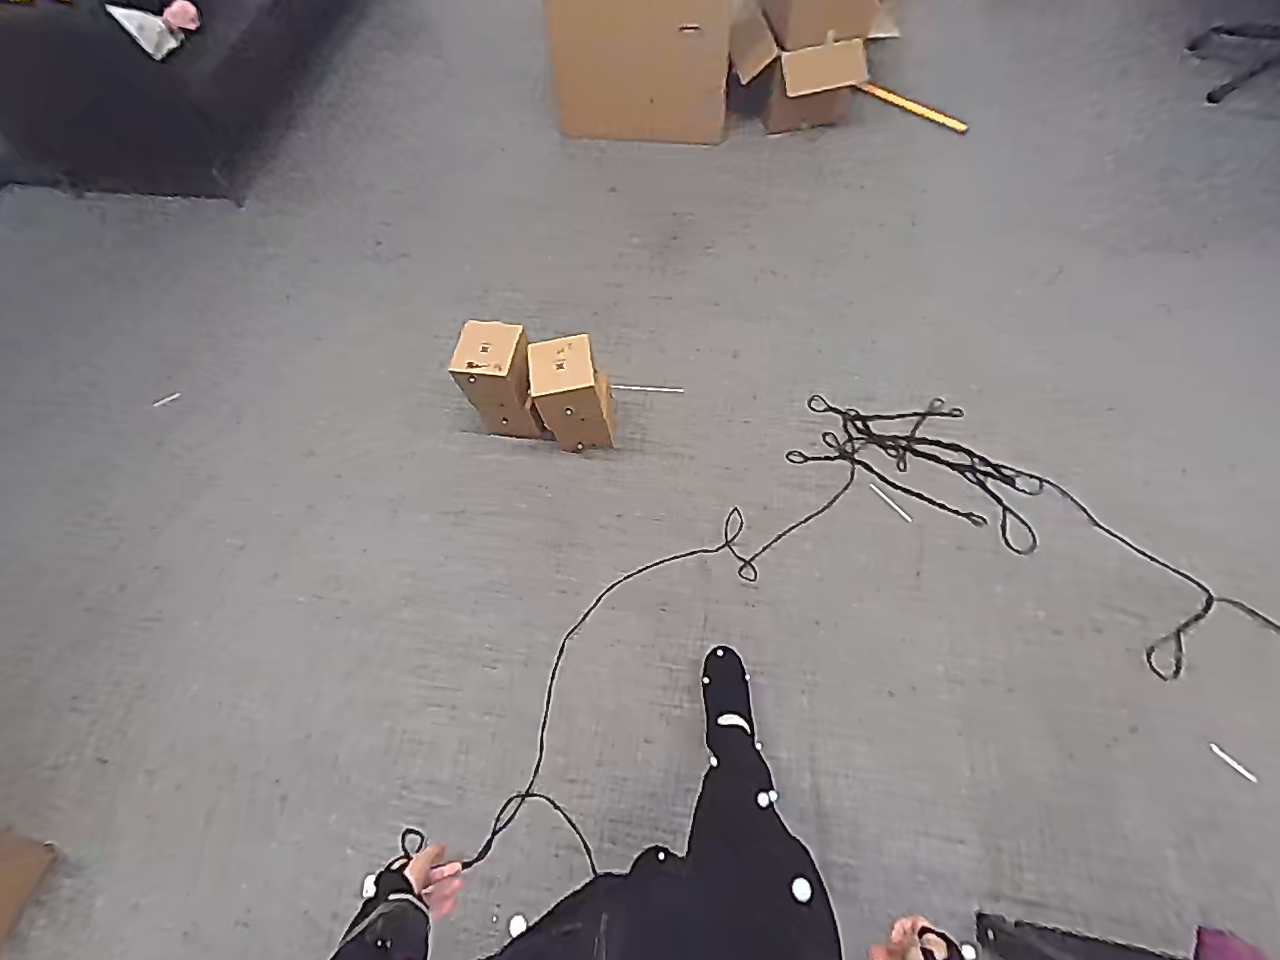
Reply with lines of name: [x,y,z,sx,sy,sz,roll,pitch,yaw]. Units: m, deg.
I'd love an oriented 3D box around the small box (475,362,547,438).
small box: [-0.377,-0.242,1.665,0.179,0.176,0.168,6,64,9]

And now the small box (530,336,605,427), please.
small box: [-0.194,-0.260,1.474,0.168,0.176,0.179,-10,63,1]
